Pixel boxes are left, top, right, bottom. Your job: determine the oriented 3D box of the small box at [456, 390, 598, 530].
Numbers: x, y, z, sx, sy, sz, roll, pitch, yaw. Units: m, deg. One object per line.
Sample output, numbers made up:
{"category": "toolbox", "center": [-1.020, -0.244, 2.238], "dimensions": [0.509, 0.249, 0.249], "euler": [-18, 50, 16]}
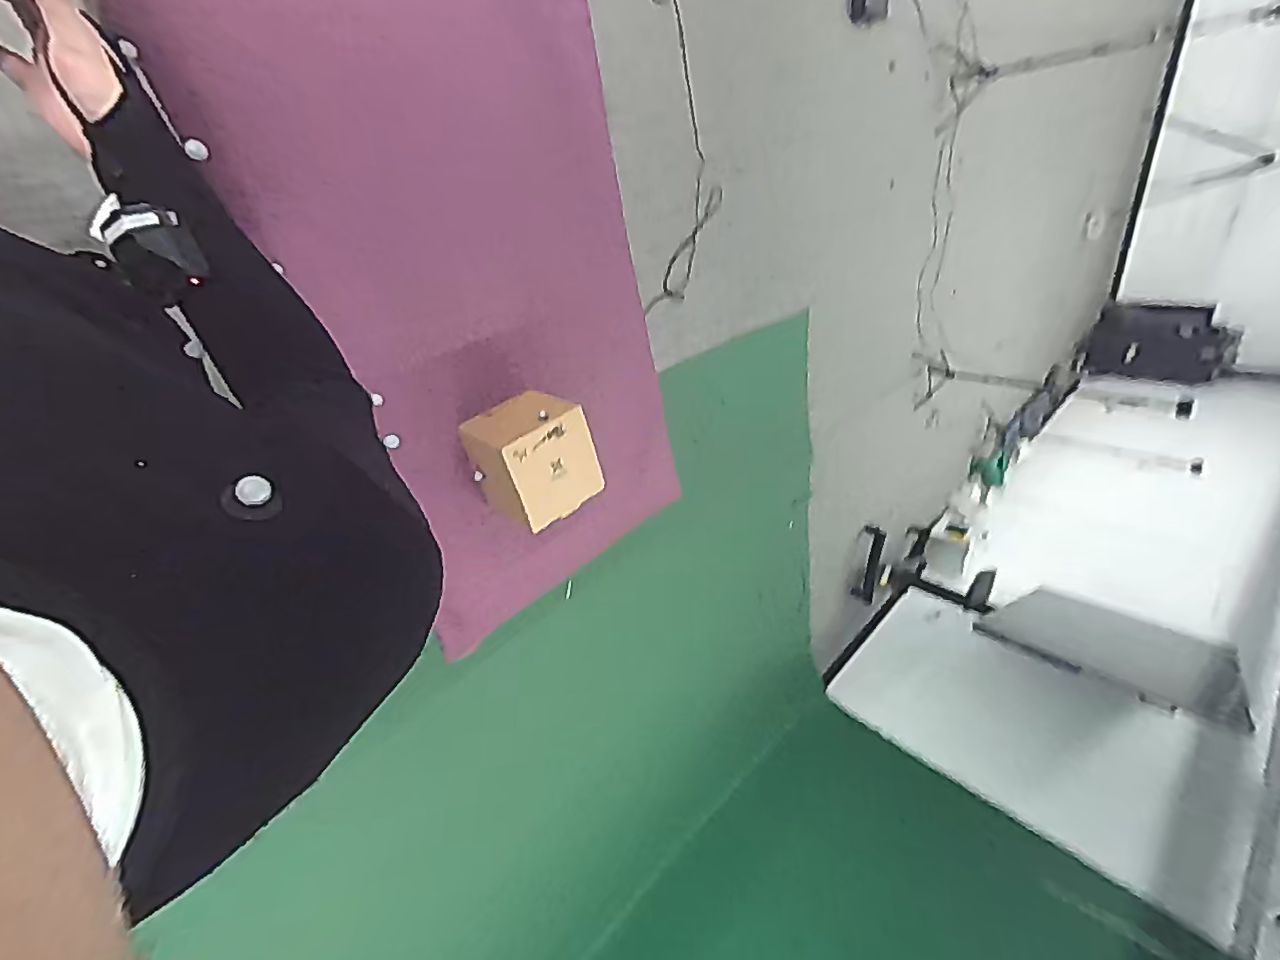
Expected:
{"category": "small box", "center": [-0.205, -0.045, 0.985], "dimensions": [0.168, 0.176, 0.179], "euler": [-33, 127, -30]}
